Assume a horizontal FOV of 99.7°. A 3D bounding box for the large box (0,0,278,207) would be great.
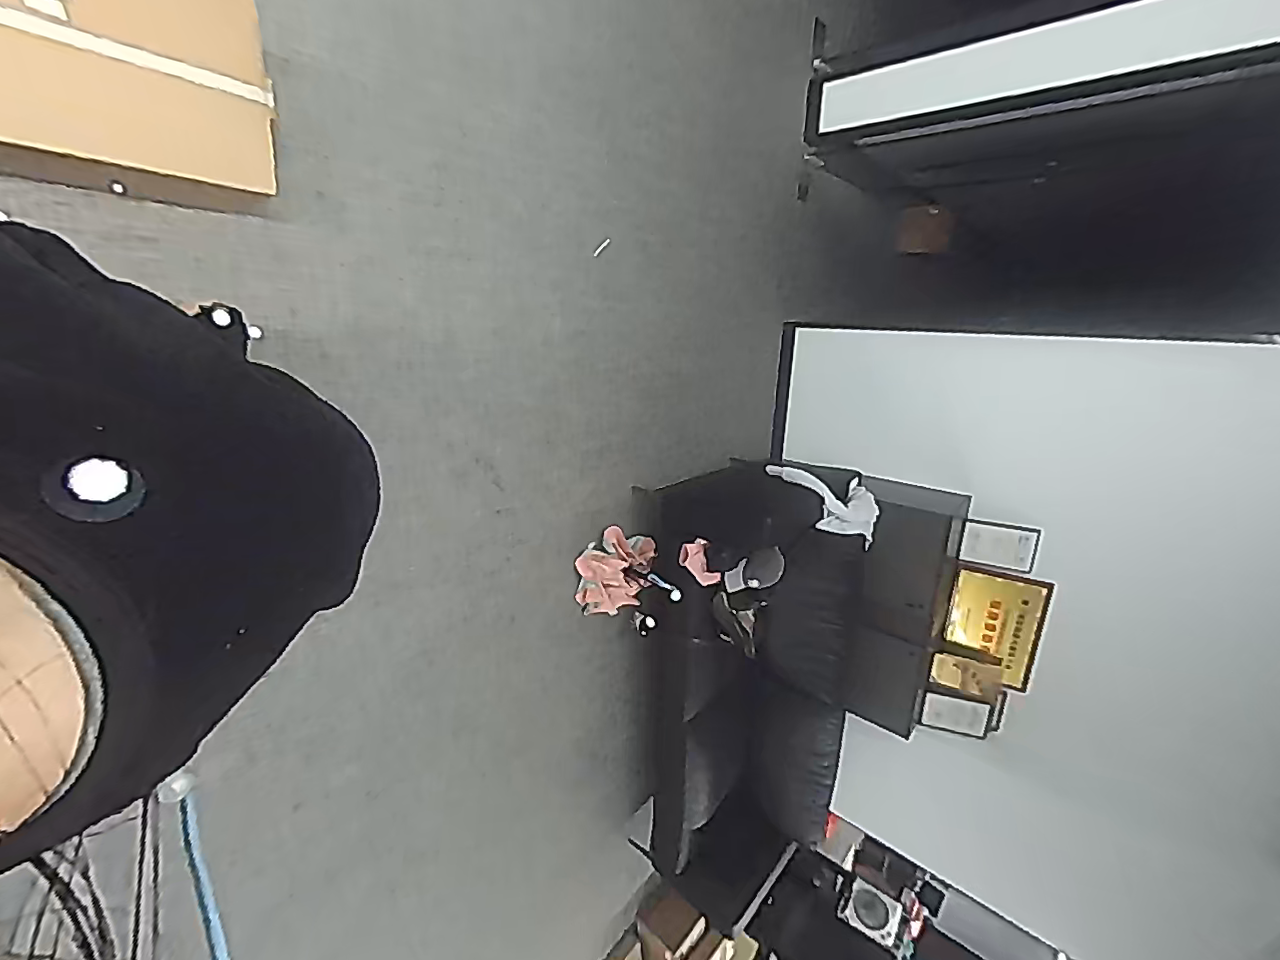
[{"bbox_3d":[-0.905,-0.676,0.916,0.408,0.320,0.320,-13,112,-46],"label":"large box"}]
